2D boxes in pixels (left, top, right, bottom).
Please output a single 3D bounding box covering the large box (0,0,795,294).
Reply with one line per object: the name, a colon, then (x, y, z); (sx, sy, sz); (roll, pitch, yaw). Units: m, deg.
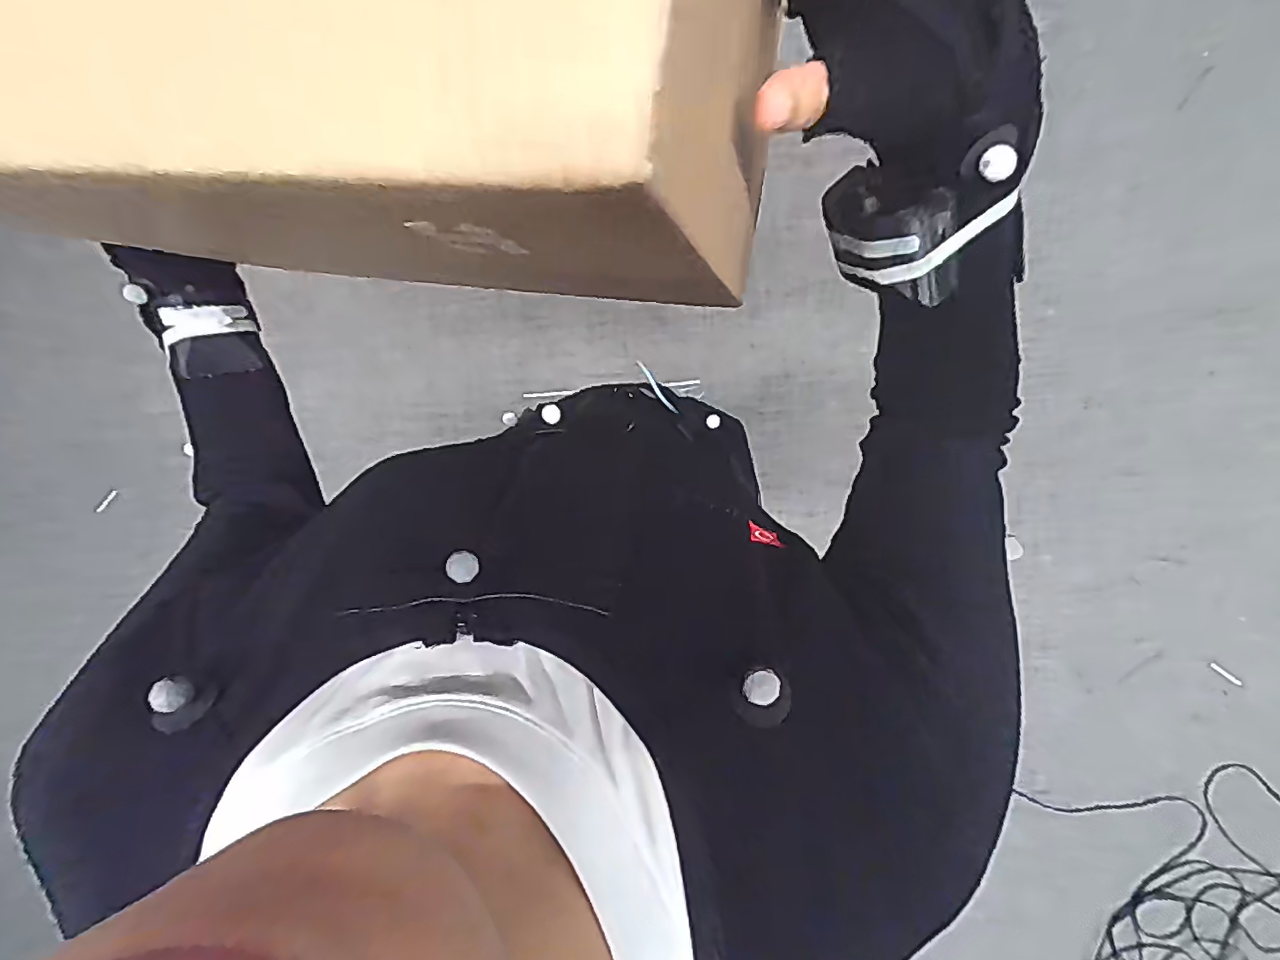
large box: (-0.129, -0.278, 0.257); (0.408, 0.320, 0.320); (9, 105, 11)
